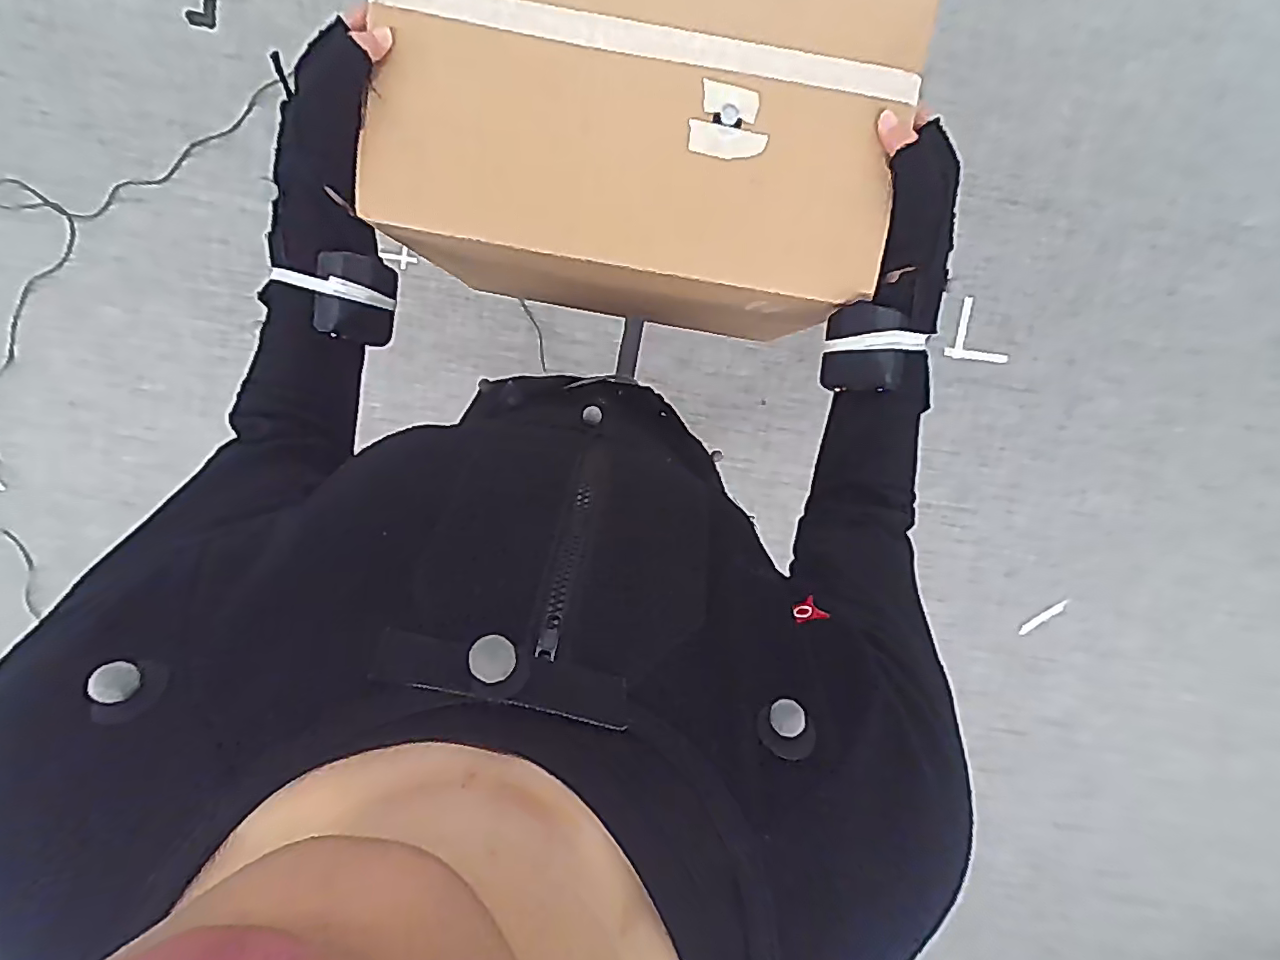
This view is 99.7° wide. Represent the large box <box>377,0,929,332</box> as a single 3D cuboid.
[{"bbox_3d":[0.006,-0.350,0.553,0.408,0.320,0.320,9,100,-3],"label":"large box"}]
